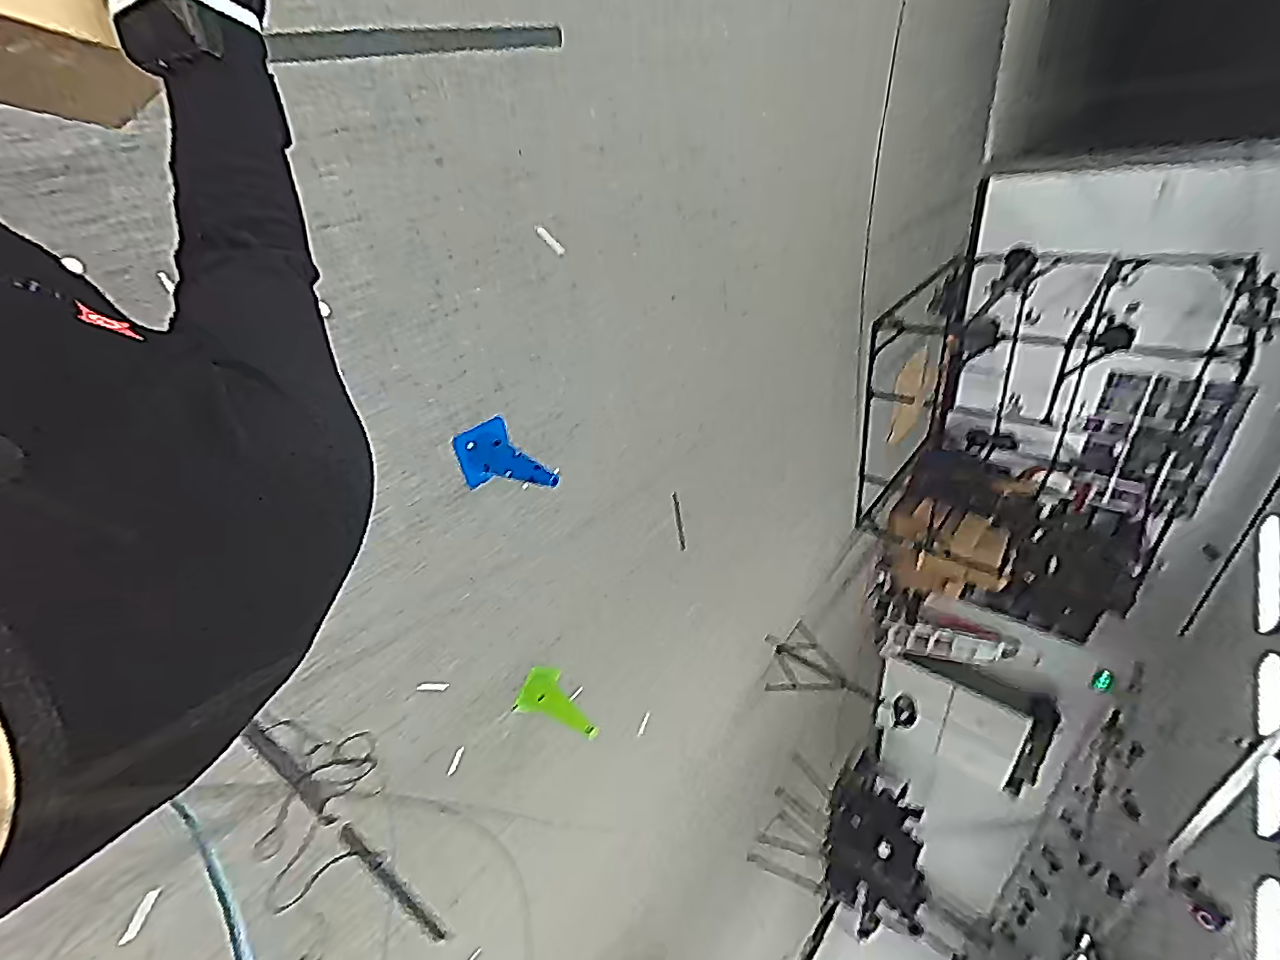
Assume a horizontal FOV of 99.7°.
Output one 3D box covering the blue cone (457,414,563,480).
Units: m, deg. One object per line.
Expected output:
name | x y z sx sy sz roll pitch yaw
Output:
blue cone | -0.389 -0.064 1.702 0.192 0.380 0.193 -36 131 -38

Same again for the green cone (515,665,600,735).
green cone | -0.304 0.939 2.220 0.200 0.368 0.202 34 77 -52

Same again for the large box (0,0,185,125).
large box | -0.560 -0.445 0.292 0.408 0.320 0.320 -15 116 -48
